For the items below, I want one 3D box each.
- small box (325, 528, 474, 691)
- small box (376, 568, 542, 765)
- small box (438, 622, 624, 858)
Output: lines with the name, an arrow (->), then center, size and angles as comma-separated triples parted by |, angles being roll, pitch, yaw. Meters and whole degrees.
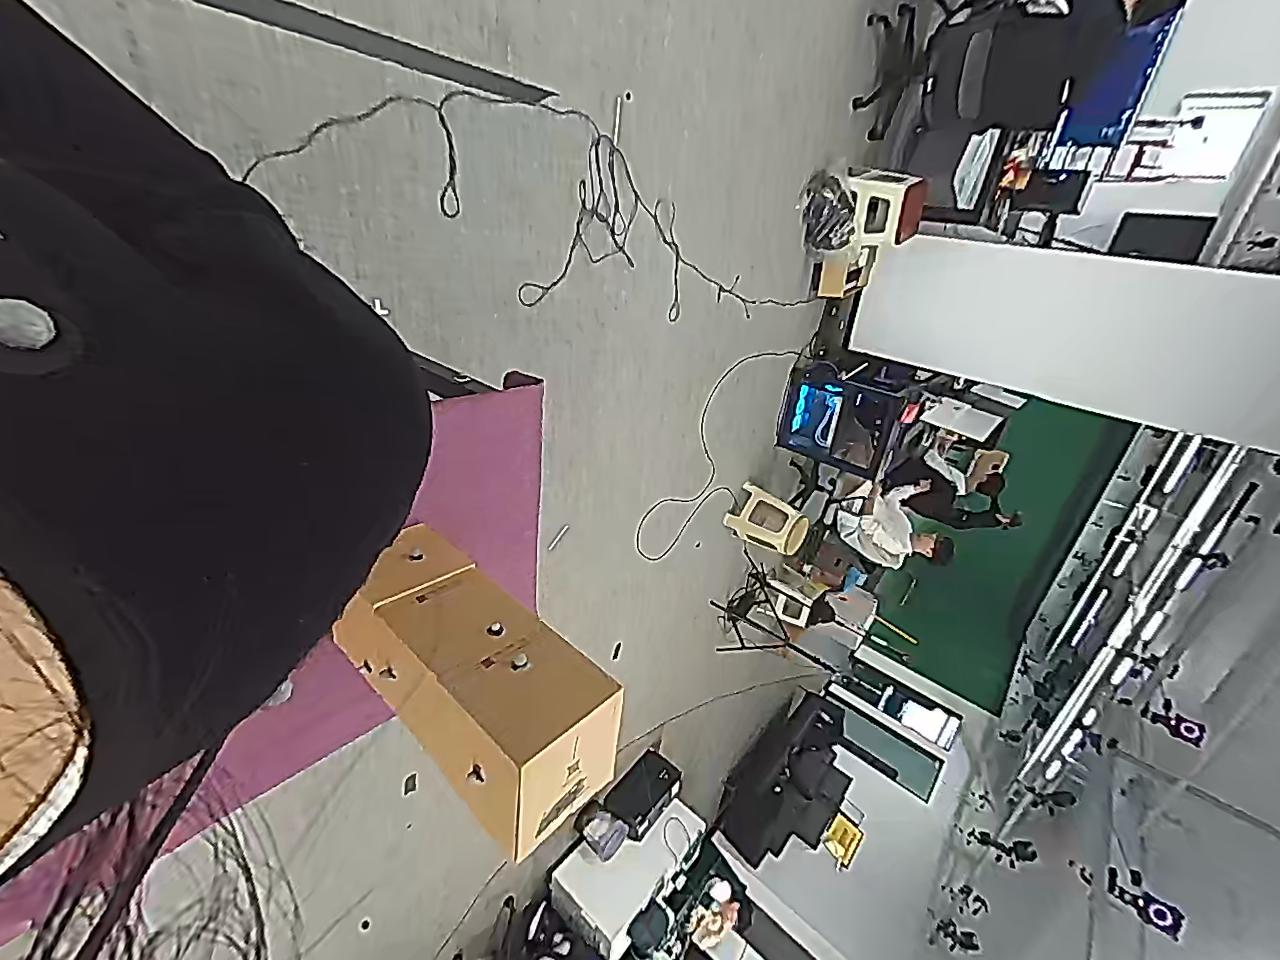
small box -> -0.389, 0.196, 0.882 | 0.168, 0.176, 0.179 | -21, 128, -46
small box -> -0.266, 0.262, 0.796 | 0.168, 0.176, 0.179 | -22, 129, -46
small box -> -0.145, 0.321, 0.702 | 0.168, 0.176, 0.179 | -21, 127, -46
